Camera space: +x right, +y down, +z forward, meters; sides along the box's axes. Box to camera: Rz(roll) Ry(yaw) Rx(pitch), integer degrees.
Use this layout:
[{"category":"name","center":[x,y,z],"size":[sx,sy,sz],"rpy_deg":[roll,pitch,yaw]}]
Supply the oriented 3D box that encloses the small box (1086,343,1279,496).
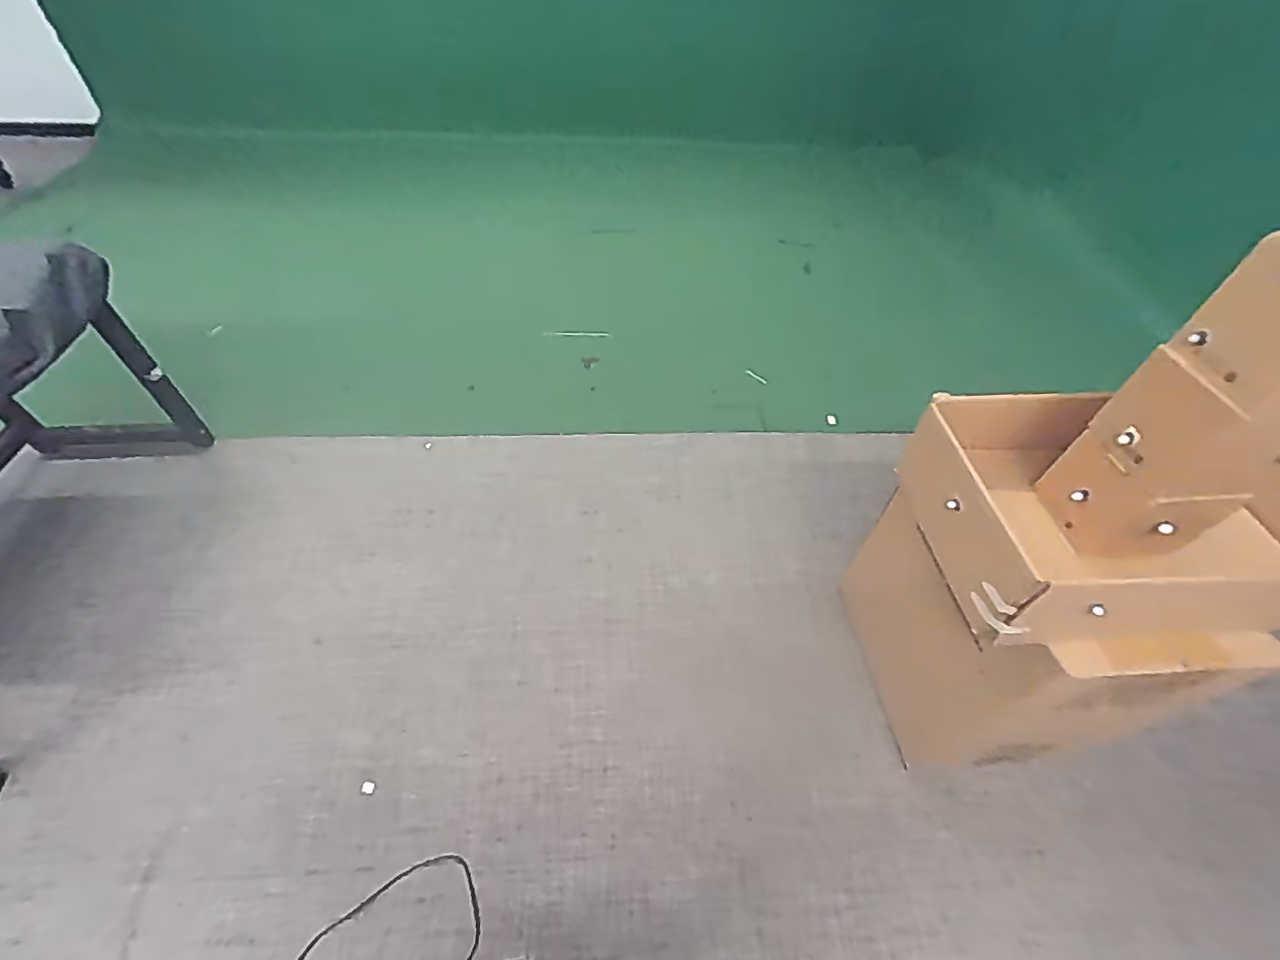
[{"category":"small box","center":[0.851,-0.091,0.822],"size":[0.179,0.176,0.168],"rpy_deg":[-4,50,-5]}]

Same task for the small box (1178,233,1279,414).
[{"category":"small box","center":[0.867,-0.197,0.696],"size":[0.179,0.176,0.168],"rpy_deg":[0,50,-5]}]
